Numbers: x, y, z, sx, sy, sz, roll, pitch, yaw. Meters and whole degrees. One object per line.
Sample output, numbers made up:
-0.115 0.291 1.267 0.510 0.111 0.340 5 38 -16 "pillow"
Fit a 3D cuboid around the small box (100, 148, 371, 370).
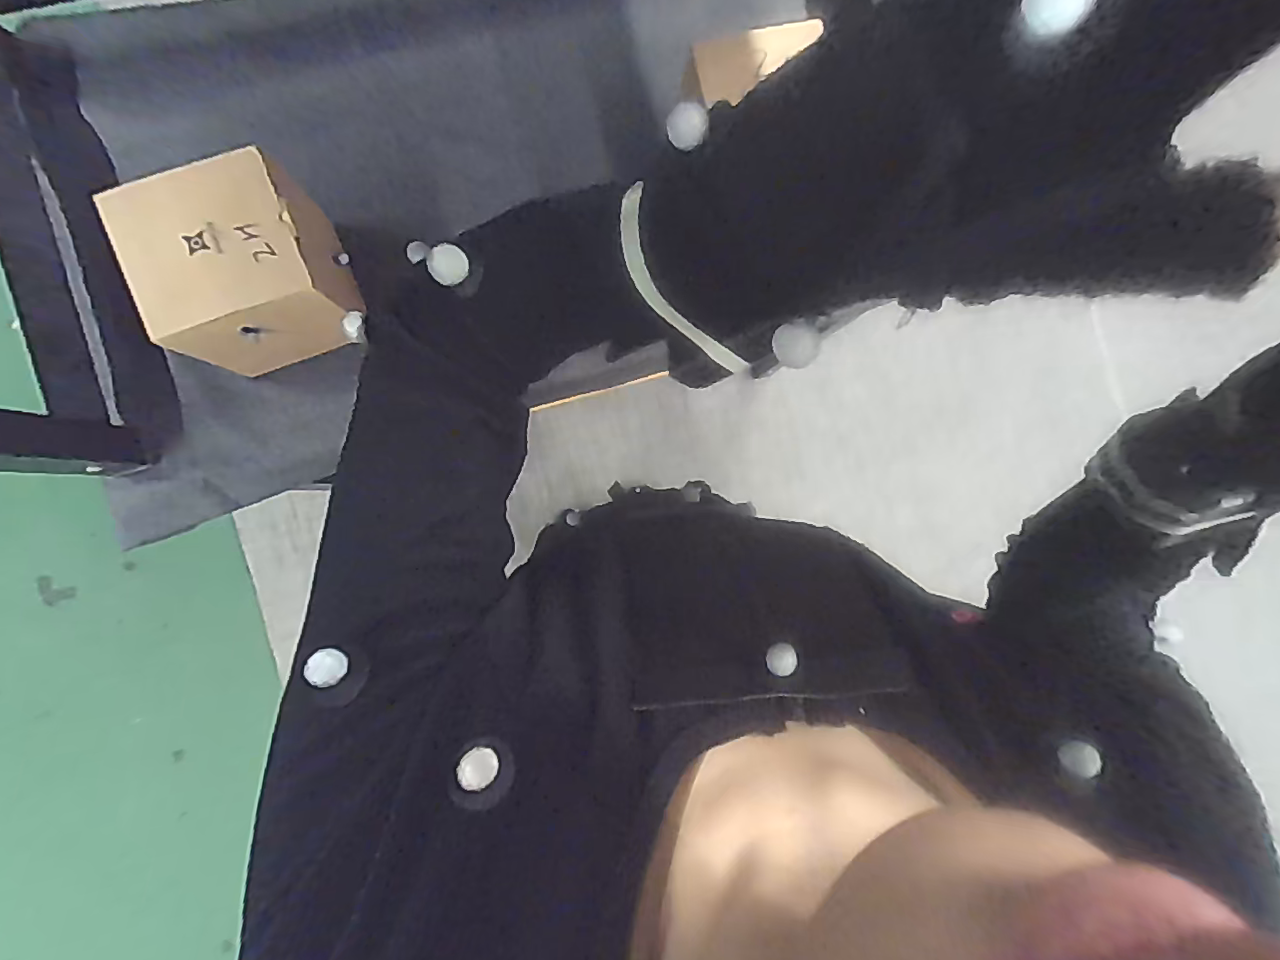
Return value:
-0.465 -0.249 0.652 0.179 0.176 0.168 -21 90 -6 "small box"
